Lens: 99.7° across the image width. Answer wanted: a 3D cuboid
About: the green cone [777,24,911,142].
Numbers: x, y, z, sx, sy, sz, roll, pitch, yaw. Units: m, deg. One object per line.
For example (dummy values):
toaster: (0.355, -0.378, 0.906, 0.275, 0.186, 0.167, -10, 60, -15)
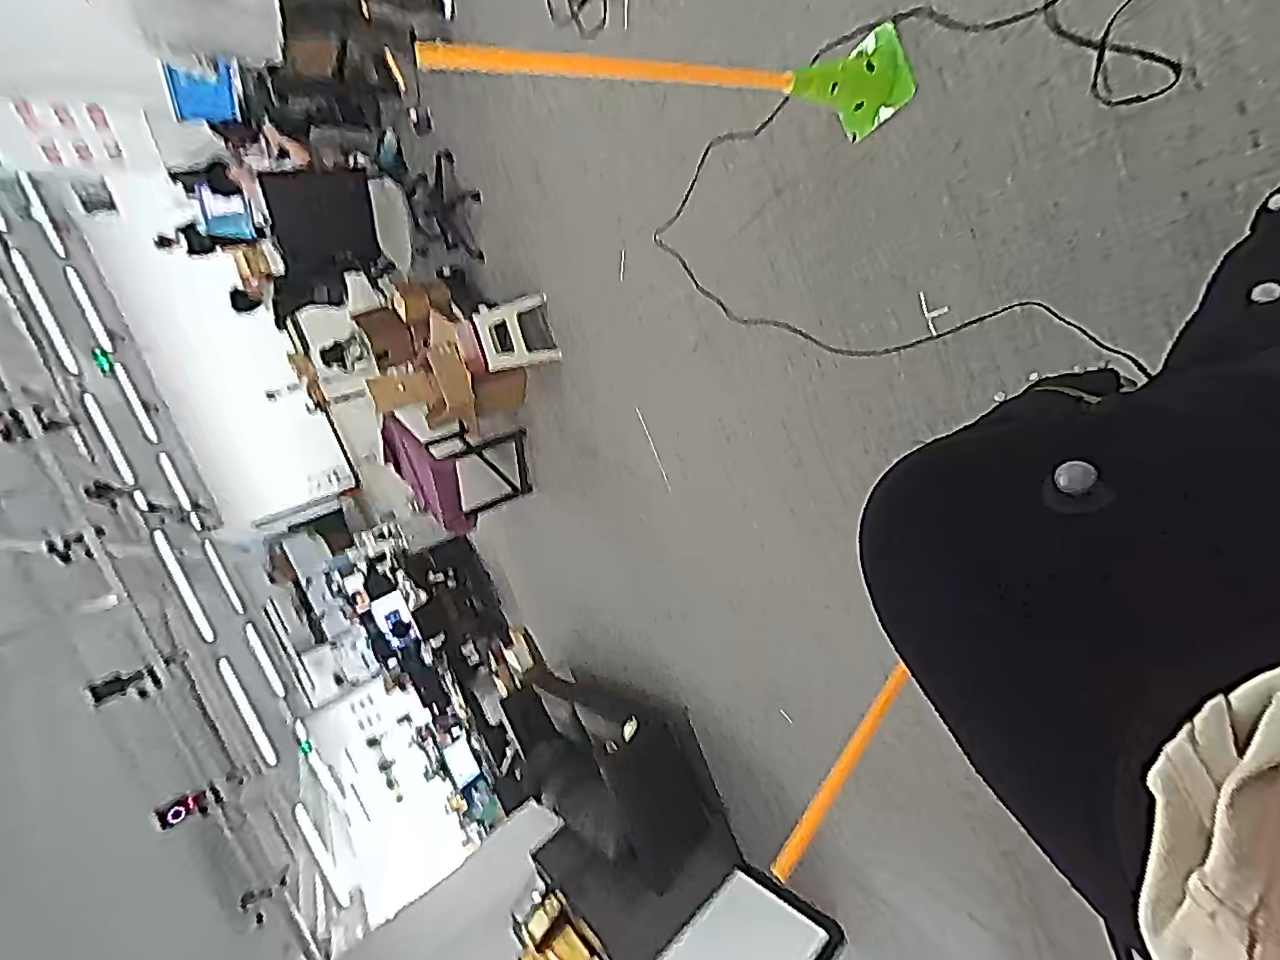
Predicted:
green cone: (0.478, -1.000, 1.361, 0.200, 0.368, 0.202, -19, 94, 58)
